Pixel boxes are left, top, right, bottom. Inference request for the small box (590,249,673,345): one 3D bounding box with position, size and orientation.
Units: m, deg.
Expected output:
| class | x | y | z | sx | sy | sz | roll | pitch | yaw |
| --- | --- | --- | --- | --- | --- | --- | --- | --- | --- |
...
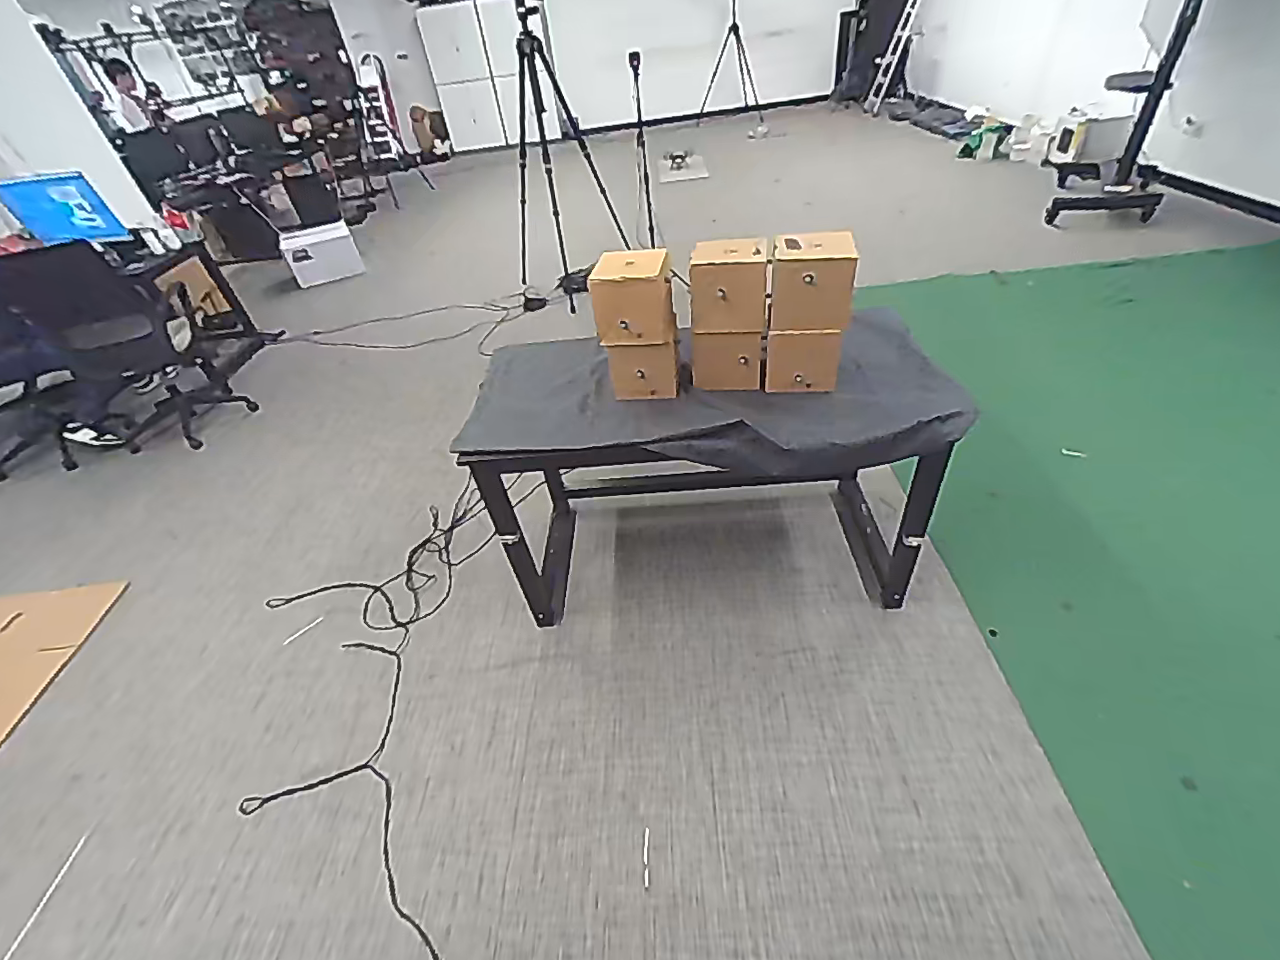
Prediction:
| class | x | y | z | sx | sy | sz | roll | pitch | yaw |
| --- | --- | --- | --- | --- | --- | --- | --- | --- | --- |
| small box | -0.012 | -0.450 | 1.335 | 0.168 | 0.176 | 0.179 | 1 | 43 | 12 |
